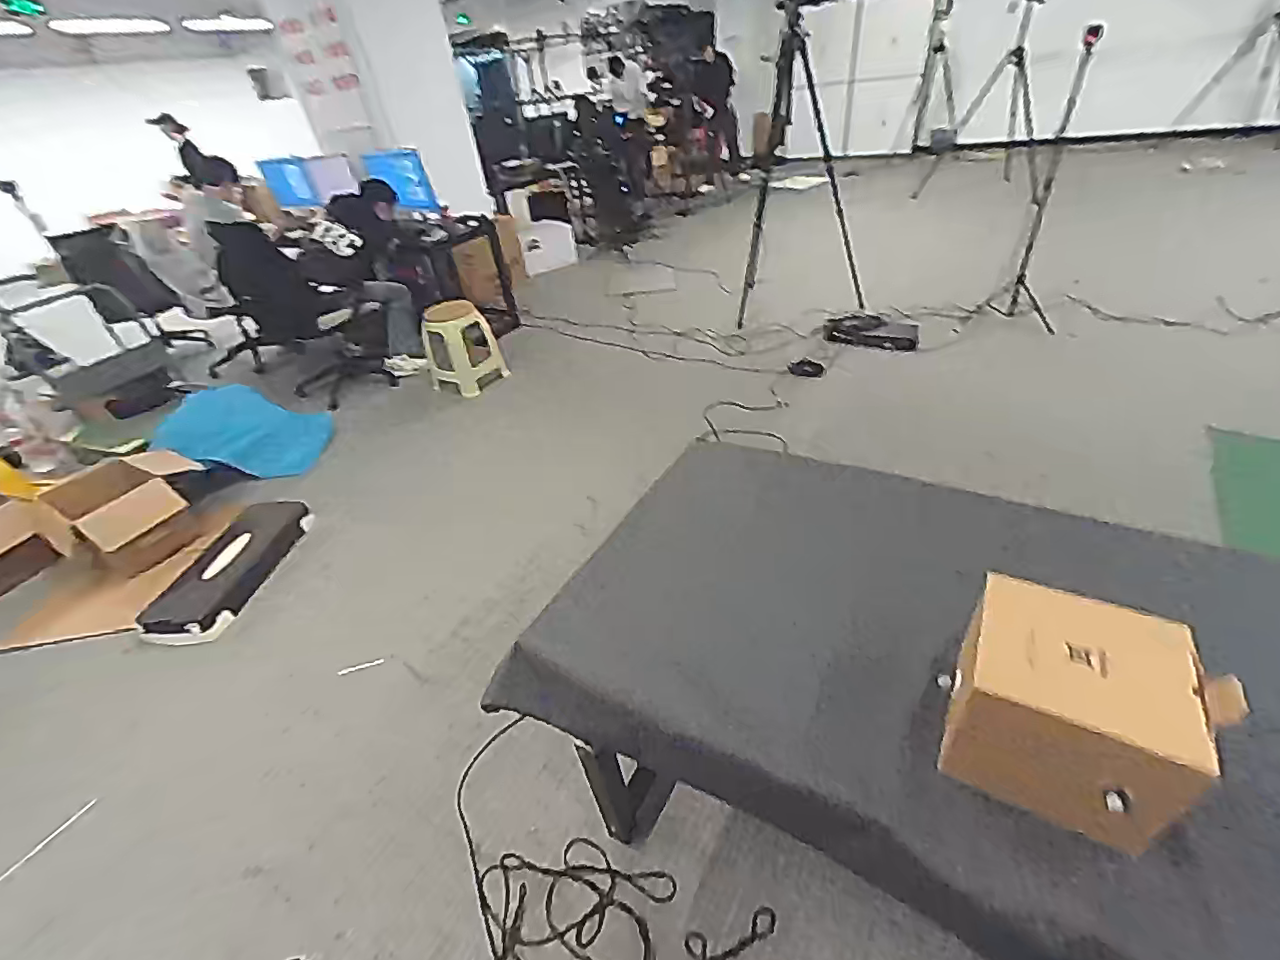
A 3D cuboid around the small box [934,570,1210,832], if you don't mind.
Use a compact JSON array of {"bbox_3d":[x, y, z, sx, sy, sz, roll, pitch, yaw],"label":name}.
[{"bbox_3d":[0.435,0.231,0.572,0.179,0.176,0.168,14,41,29],"label":"small box"}]
